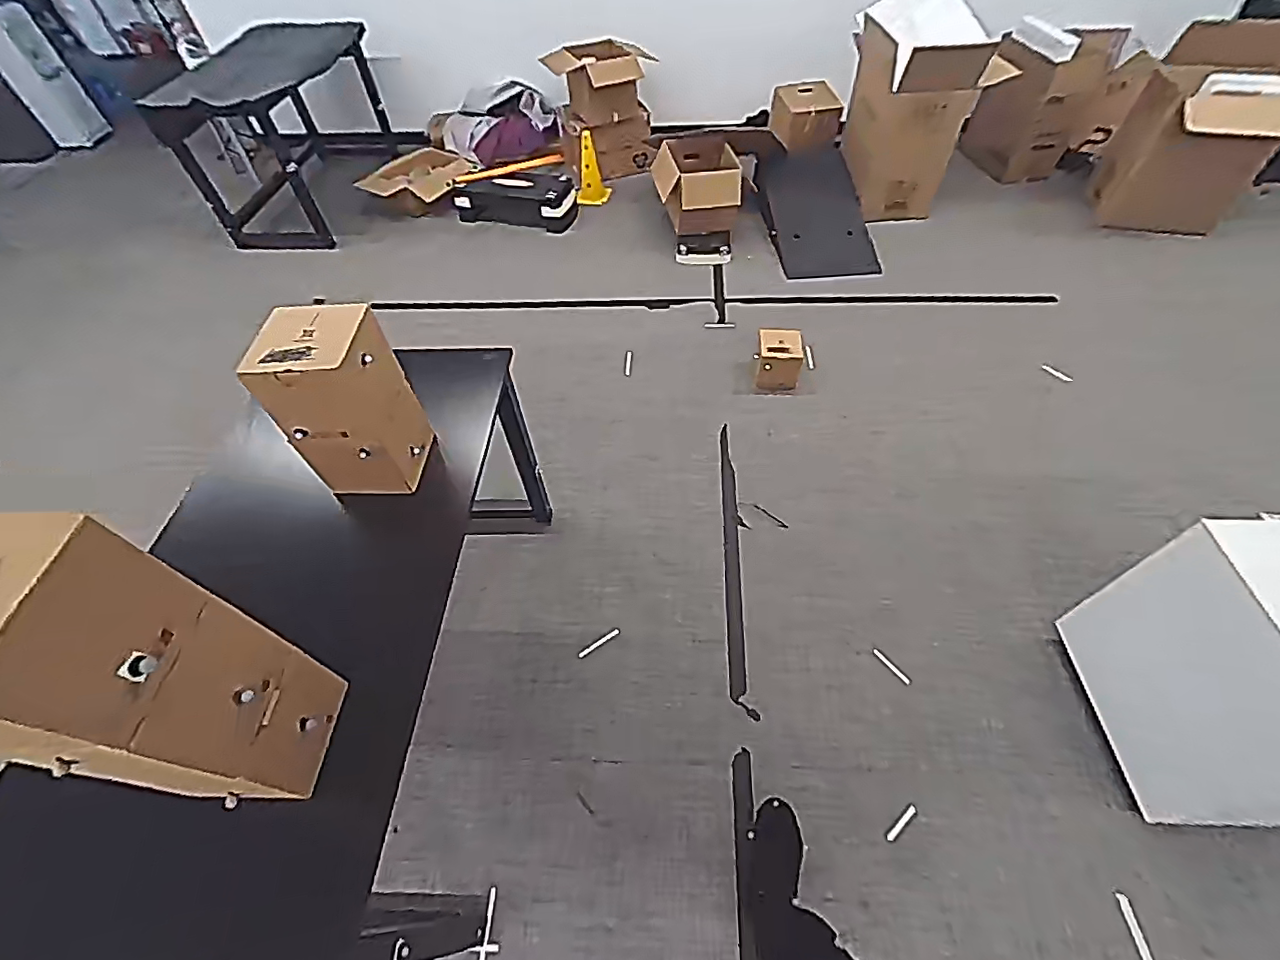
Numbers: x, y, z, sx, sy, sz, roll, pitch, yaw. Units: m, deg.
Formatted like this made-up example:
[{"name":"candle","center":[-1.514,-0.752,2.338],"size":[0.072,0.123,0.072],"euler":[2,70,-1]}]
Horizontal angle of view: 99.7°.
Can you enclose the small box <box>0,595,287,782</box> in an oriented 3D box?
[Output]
[{"name":"small box","center":[-0.564,0.243,0.624],"size":[0.179,0.176,0.168],"euler":[0,53,2]}]

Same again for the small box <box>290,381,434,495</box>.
[{"name":"small box","center":[-0.542,-0.081,1.082],"size":[0.179,0.176,0.168],"euler":[0,53,3]}]

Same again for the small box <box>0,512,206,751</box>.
[{"name":"small box","center":[-0.570,0.143,0.496],"size":[0.179,0.176,0.168],"euler":[0,54,2]}]

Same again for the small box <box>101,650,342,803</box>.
[{"name":"small box","center":[-0.556,0.344,0.754],"size":[0.179,0.176,0.168],"euler":[-1,52,2]}]

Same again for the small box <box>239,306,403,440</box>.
[{"name":"small box","center":[-0.542,-0.181,0.951],"size":[0.168,0.176,0.179],"euler":[-2,52,0]}]
